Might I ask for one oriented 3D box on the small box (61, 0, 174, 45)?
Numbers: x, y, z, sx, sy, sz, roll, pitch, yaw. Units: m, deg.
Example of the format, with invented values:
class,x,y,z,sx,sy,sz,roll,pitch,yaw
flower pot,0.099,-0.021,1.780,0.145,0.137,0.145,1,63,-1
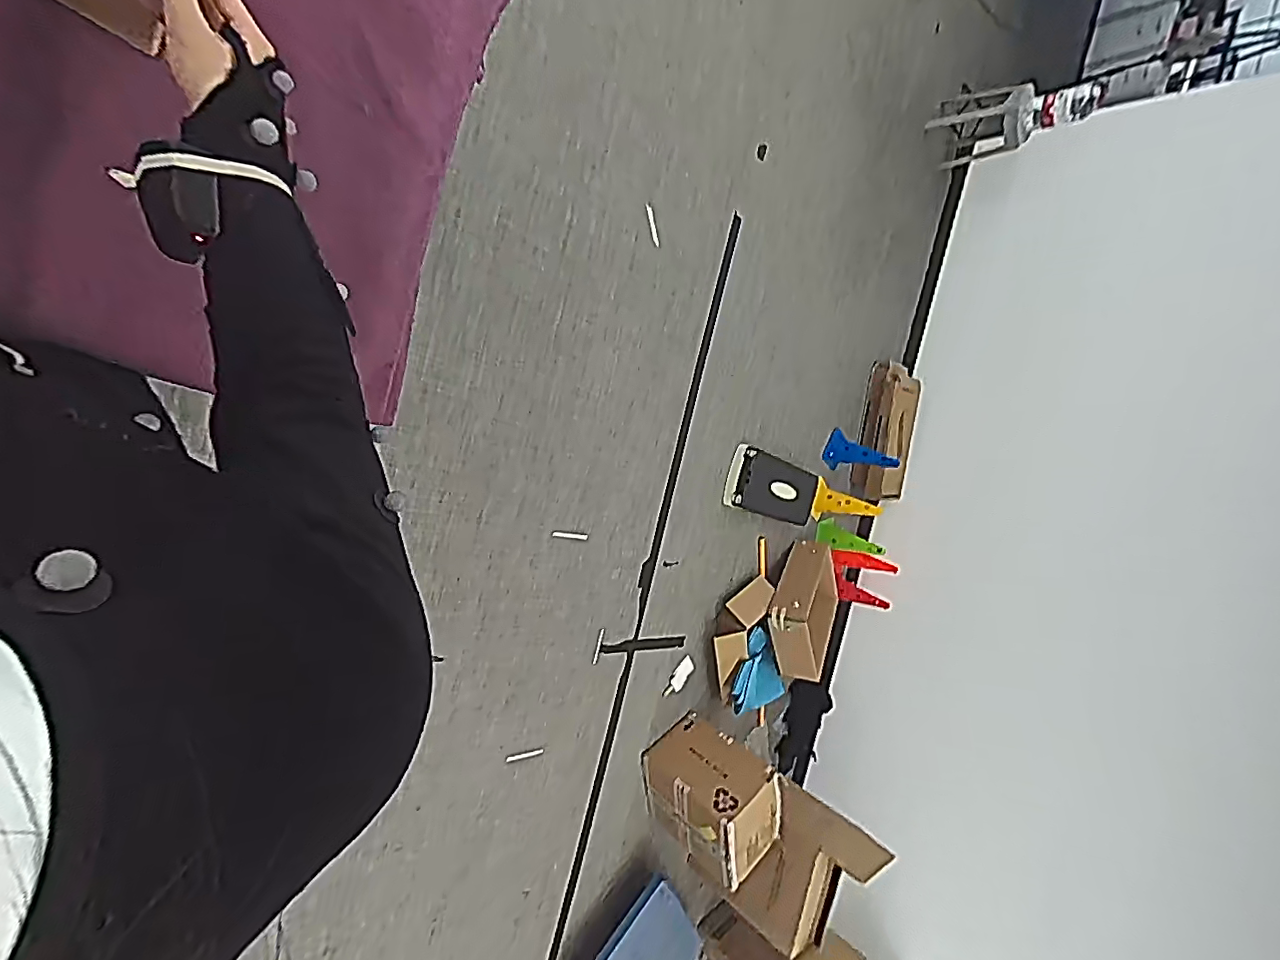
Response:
class,x,y,z,sx,sy,sz,roll,pitch,yaw
small box,-0.385,-0.446,0.349,0.168,0.176,0.179,19,89,-46
